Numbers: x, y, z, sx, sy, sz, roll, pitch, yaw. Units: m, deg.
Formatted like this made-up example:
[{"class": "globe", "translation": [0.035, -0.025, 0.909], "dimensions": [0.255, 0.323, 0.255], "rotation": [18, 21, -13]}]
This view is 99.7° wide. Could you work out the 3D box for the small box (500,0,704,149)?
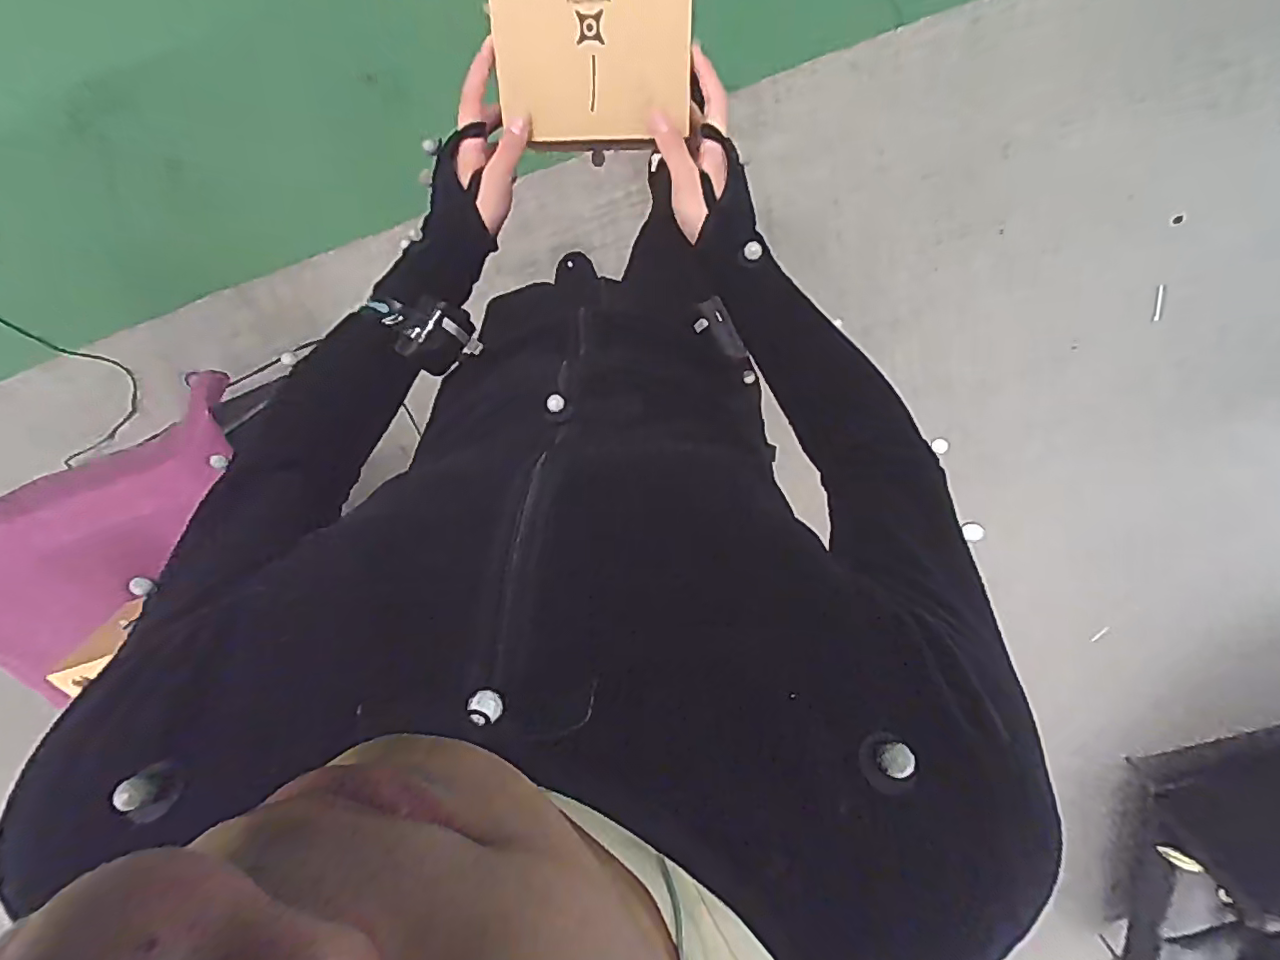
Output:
[{"class": "small box", "translation": [-0.033, -0.417, 0.503], "dimensions": [0.168, 0.176, 0.179], "rotation": [-2, 119, -1]}]
